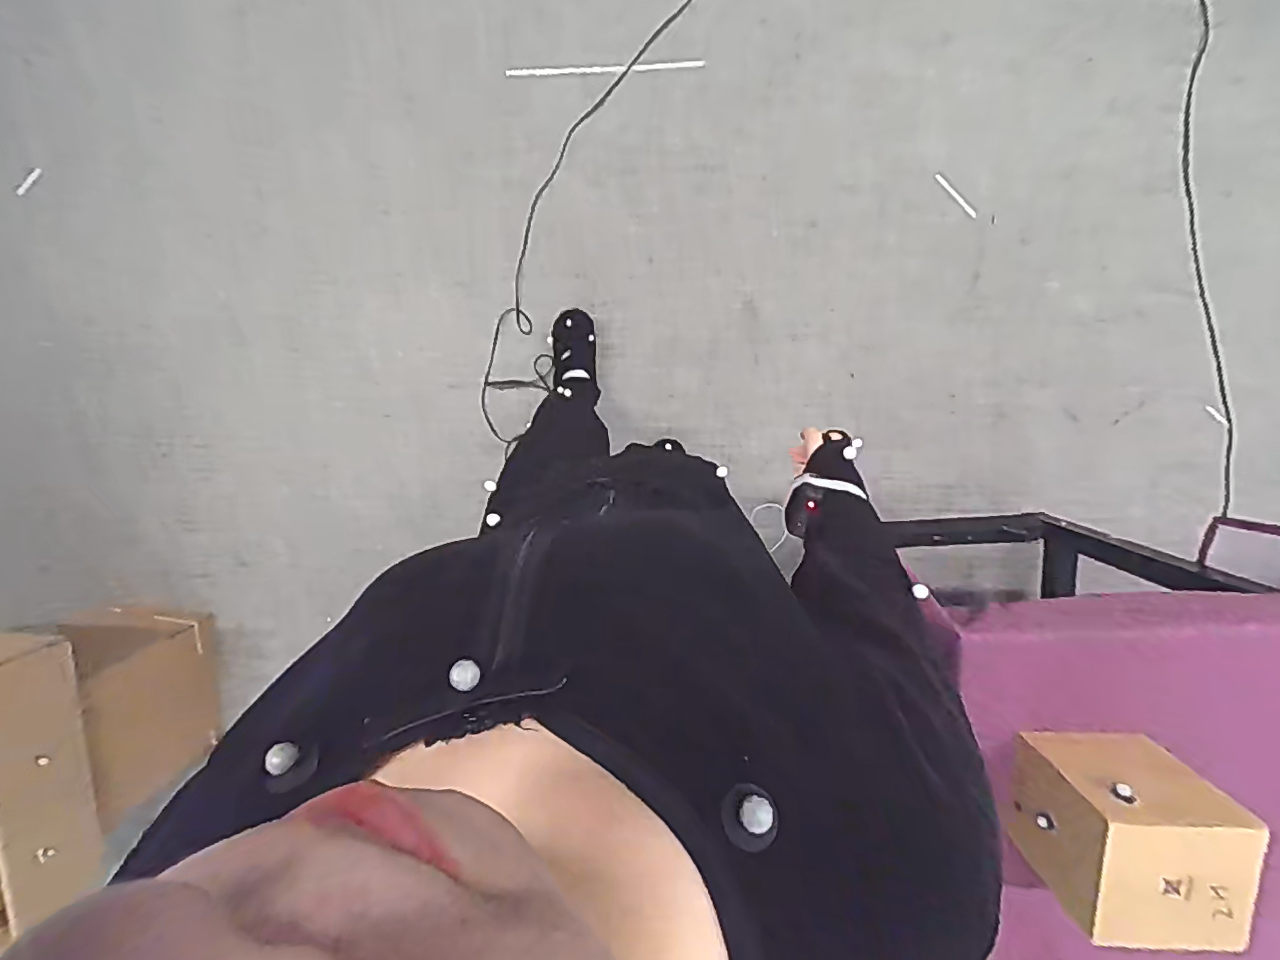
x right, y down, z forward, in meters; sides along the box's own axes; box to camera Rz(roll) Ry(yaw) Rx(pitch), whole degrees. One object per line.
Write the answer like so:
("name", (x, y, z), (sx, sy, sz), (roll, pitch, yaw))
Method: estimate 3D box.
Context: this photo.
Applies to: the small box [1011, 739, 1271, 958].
("small box", (0.620, 0.459, 0.698), (0.179, 0.176, 0.168), (0, 100, 3))
